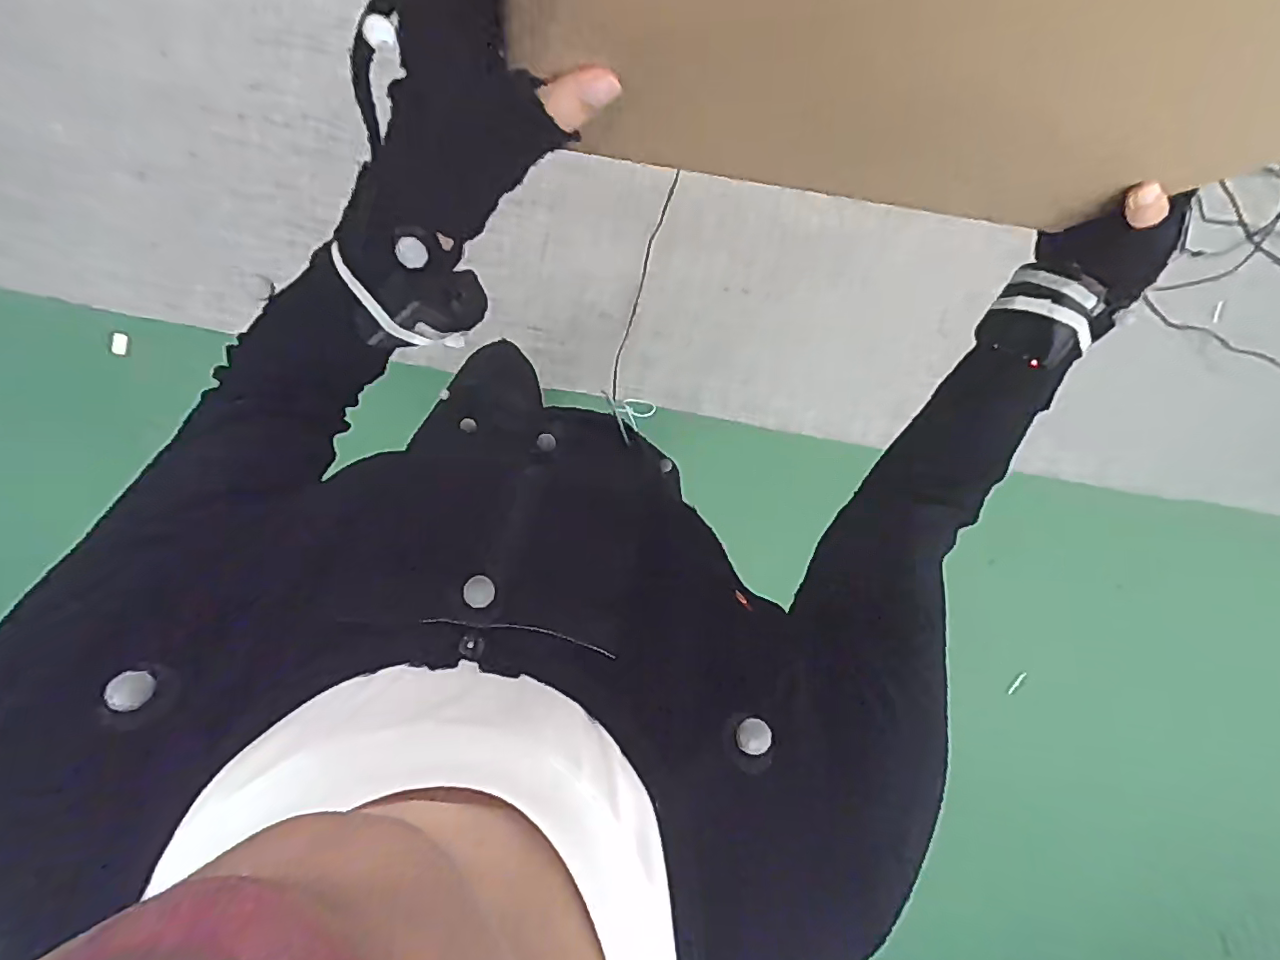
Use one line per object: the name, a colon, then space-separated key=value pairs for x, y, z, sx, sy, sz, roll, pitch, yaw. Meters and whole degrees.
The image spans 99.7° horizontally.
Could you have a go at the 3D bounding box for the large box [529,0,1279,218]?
large box: x=0.179 y=-0.318 z=0.185 sx=0.408 sy=0.320 sz=0.320 roll=-3 pitch=98 yaw=-21
